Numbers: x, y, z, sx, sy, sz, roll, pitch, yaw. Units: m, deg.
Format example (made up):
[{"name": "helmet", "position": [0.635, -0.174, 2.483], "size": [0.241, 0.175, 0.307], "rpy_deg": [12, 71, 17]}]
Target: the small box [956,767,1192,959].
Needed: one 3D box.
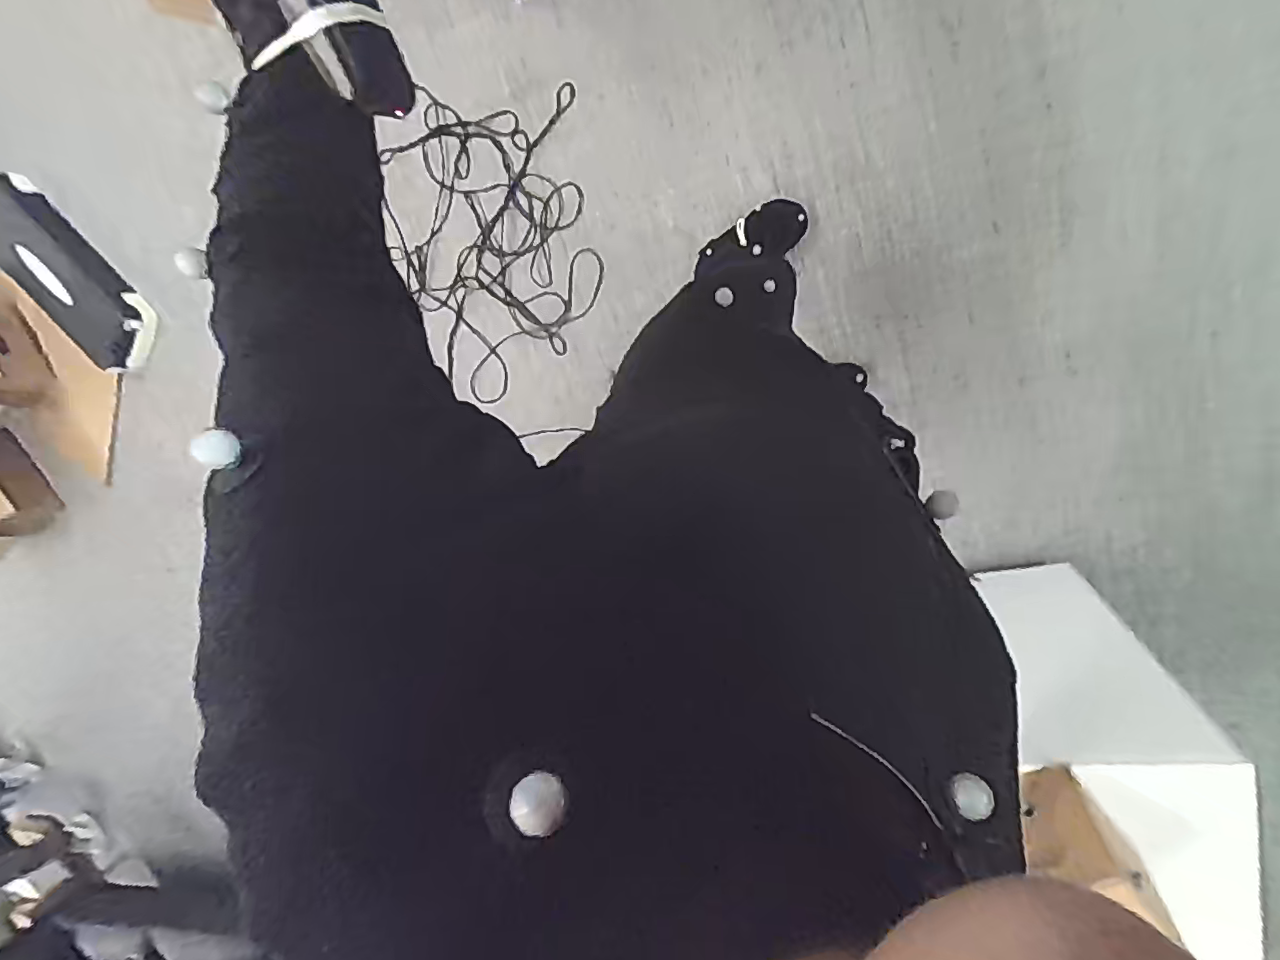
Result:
[{"name": "small box", "position": [0.552, 0.521, 0.705], "size": [0.168, 0.176, 0.179], "rpy_deg": [-38, 94, 26]}]
